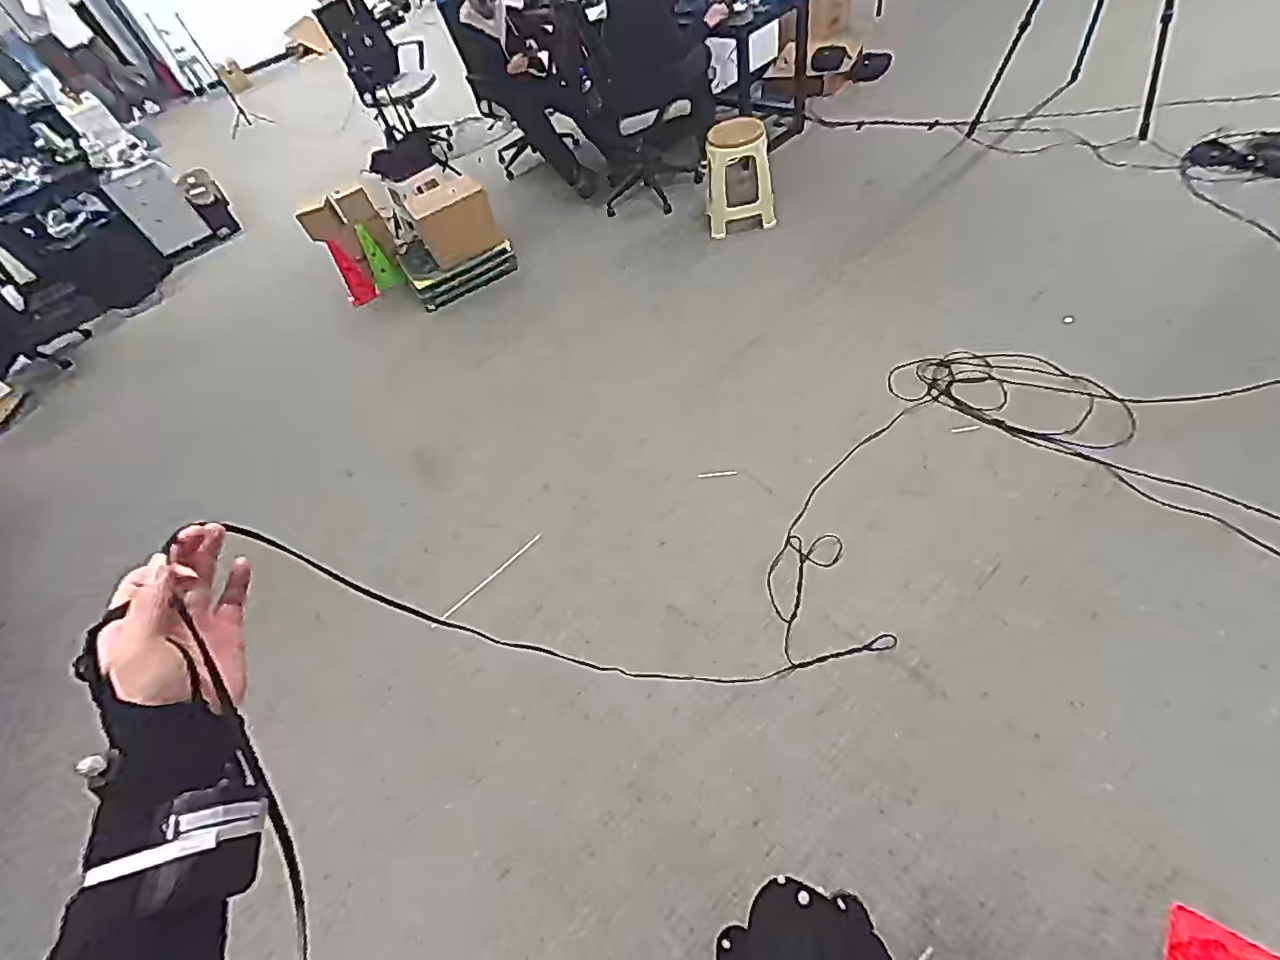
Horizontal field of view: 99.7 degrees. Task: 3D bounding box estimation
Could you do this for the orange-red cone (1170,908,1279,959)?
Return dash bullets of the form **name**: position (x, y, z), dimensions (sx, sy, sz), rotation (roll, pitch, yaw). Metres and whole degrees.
- **orange-red cone**: position (1.094, 0.859, 0.886), dimensions (0.198, 0.360, 0.199), rotation (23, 60, 27)
